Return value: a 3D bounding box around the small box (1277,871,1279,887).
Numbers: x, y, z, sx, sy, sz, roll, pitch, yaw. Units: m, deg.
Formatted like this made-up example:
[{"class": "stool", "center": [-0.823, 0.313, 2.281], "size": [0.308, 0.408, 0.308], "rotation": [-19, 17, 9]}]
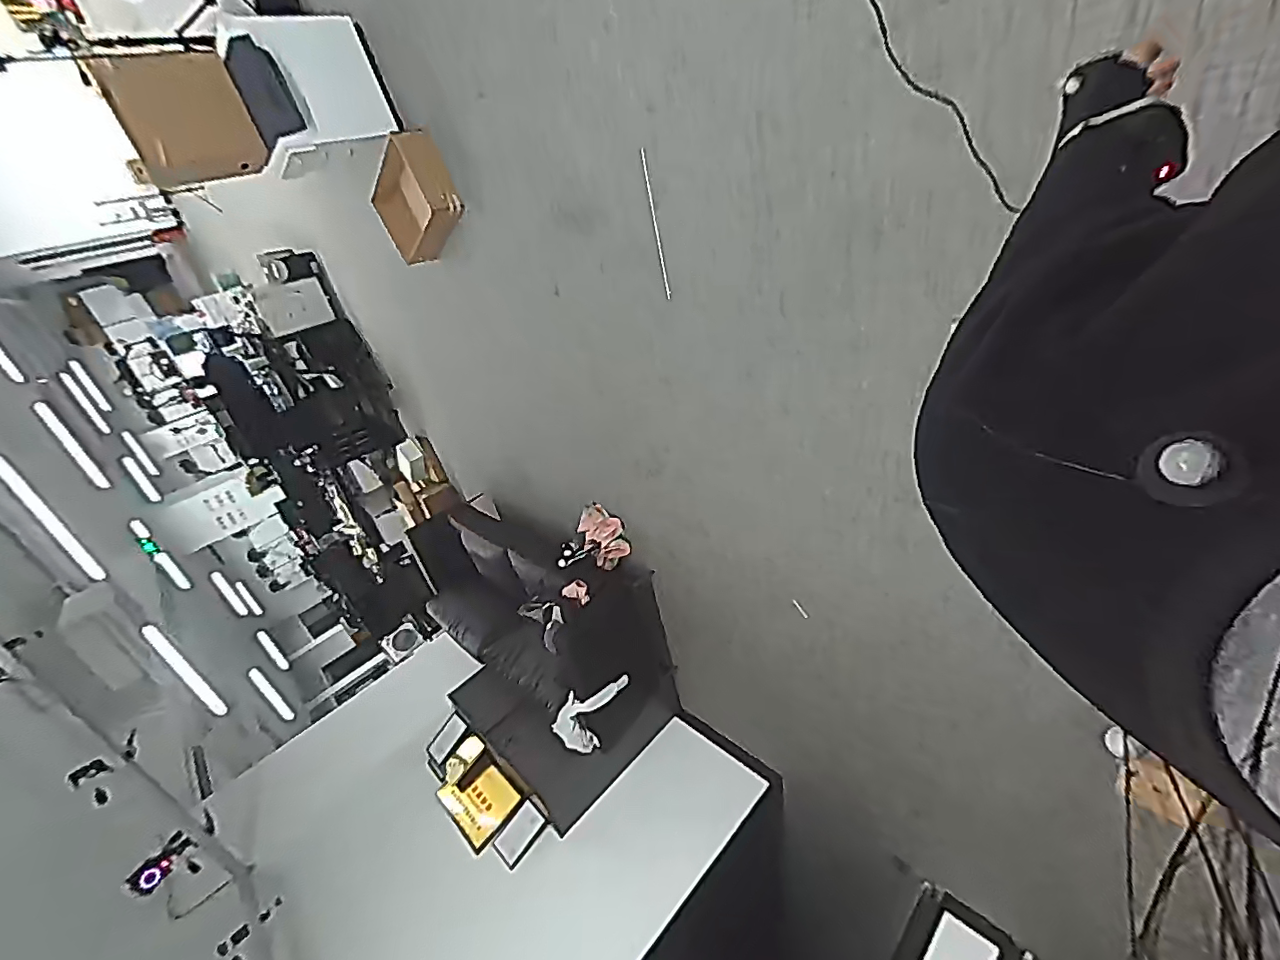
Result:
[{"class": "small box", "center": [1.606, 0.870, 1.228], "size": [0.179, 0.176, 0.168], "rotation": [14, 127, 45]}]
